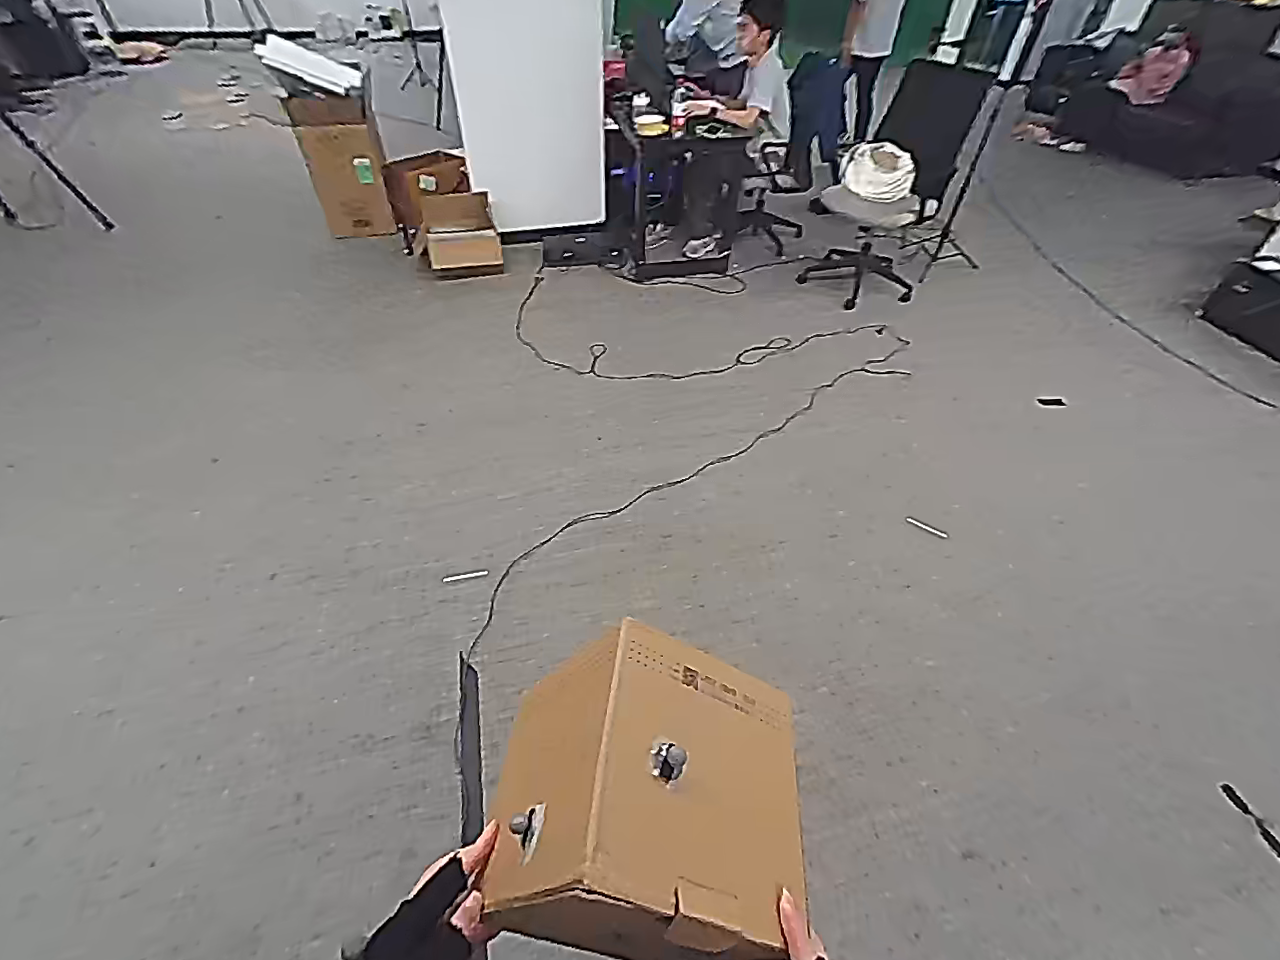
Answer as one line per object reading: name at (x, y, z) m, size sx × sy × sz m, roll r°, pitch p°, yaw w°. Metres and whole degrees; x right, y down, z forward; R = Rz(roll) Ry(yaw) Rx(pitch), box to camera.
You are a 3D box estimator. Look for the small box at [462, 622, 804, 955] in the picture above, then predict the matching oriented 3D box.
small box at (-0.004, 0.236, 0.415) m, size 0.168 × 0.179 × 0.176 m, roll 31°, pitch 39°, yaw -18°
